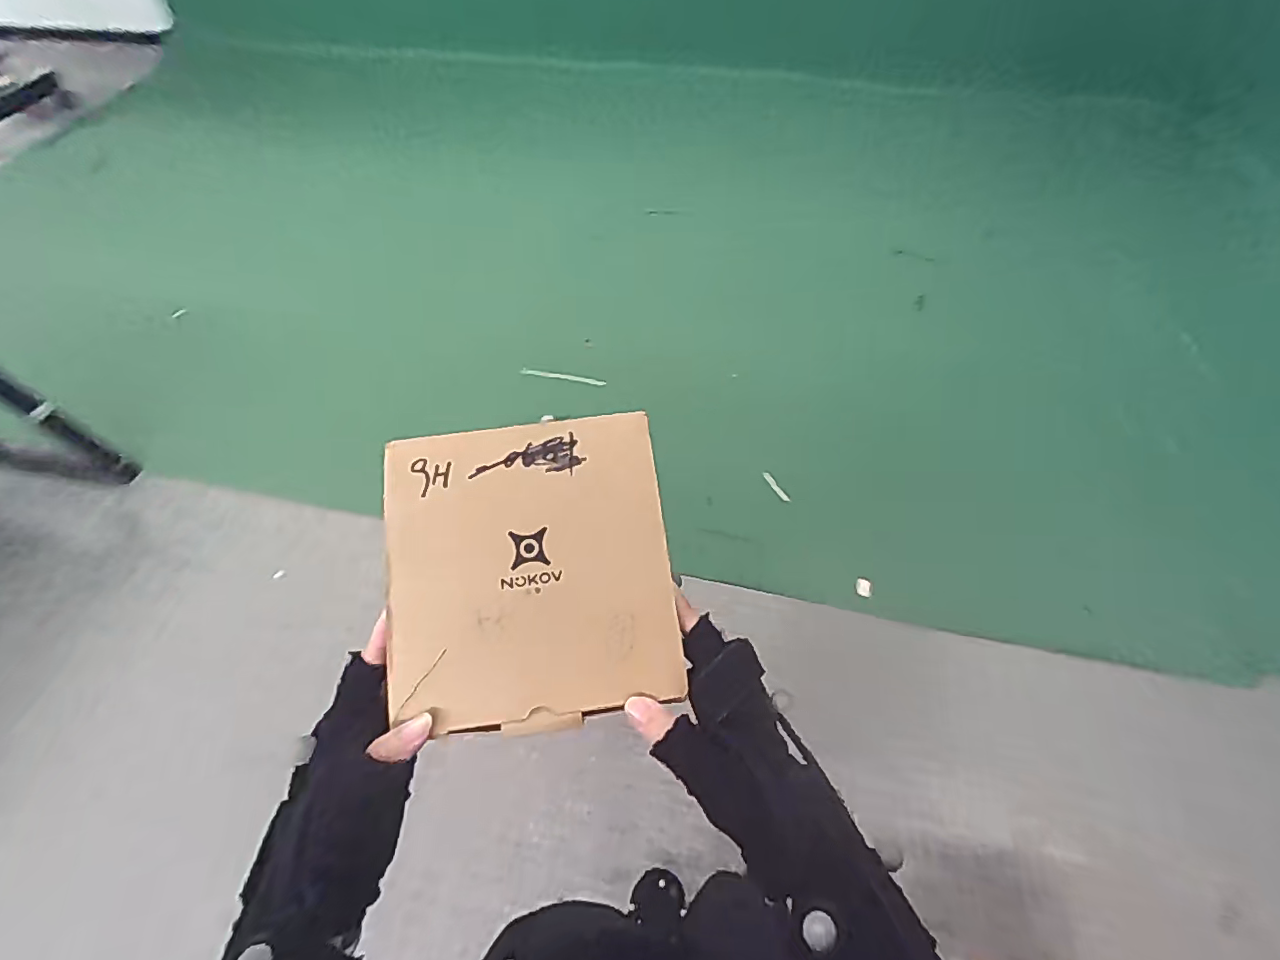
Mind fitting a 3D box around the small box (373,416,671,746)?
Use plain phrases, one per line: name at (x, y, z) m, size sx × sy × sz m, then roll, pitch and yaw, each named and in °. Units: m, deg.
small box at (-0.074, 0.071, 0.397) m, size 0.168 × 0.176 × 0.179 m, roll -8°, pitch 76°, yaw -4°
